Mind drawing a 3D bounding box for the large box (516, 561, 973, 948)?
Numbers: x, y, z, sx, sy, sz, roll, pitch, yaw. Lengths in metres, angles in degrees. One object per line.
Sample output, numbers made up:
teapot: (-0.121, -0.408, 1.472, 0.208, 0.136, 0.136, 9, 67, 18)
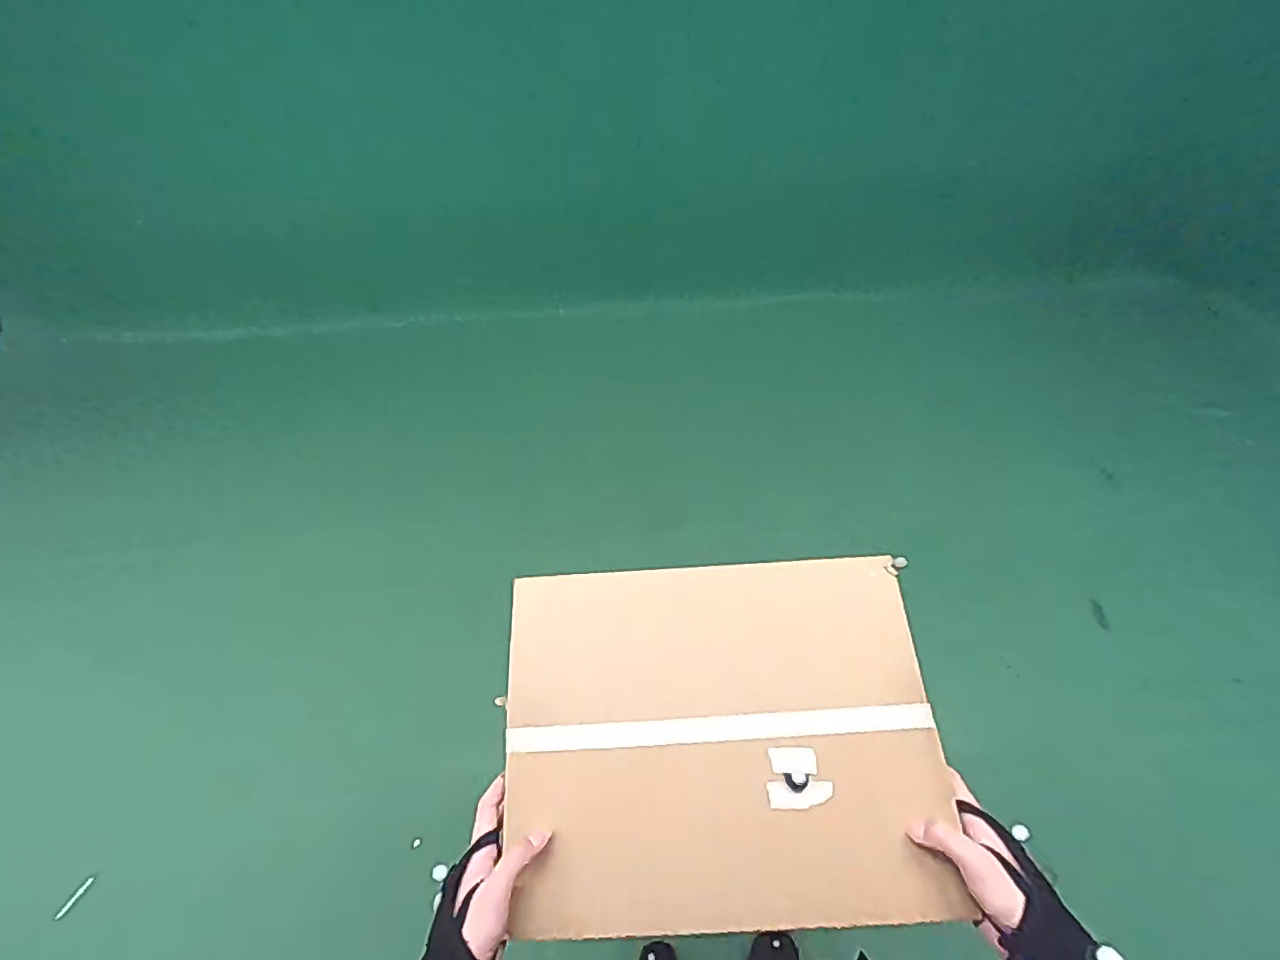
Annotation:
large box: (0.082, 0.304, 0.658, 0.408, 0.320, 0.320, -4, 67, 0)
